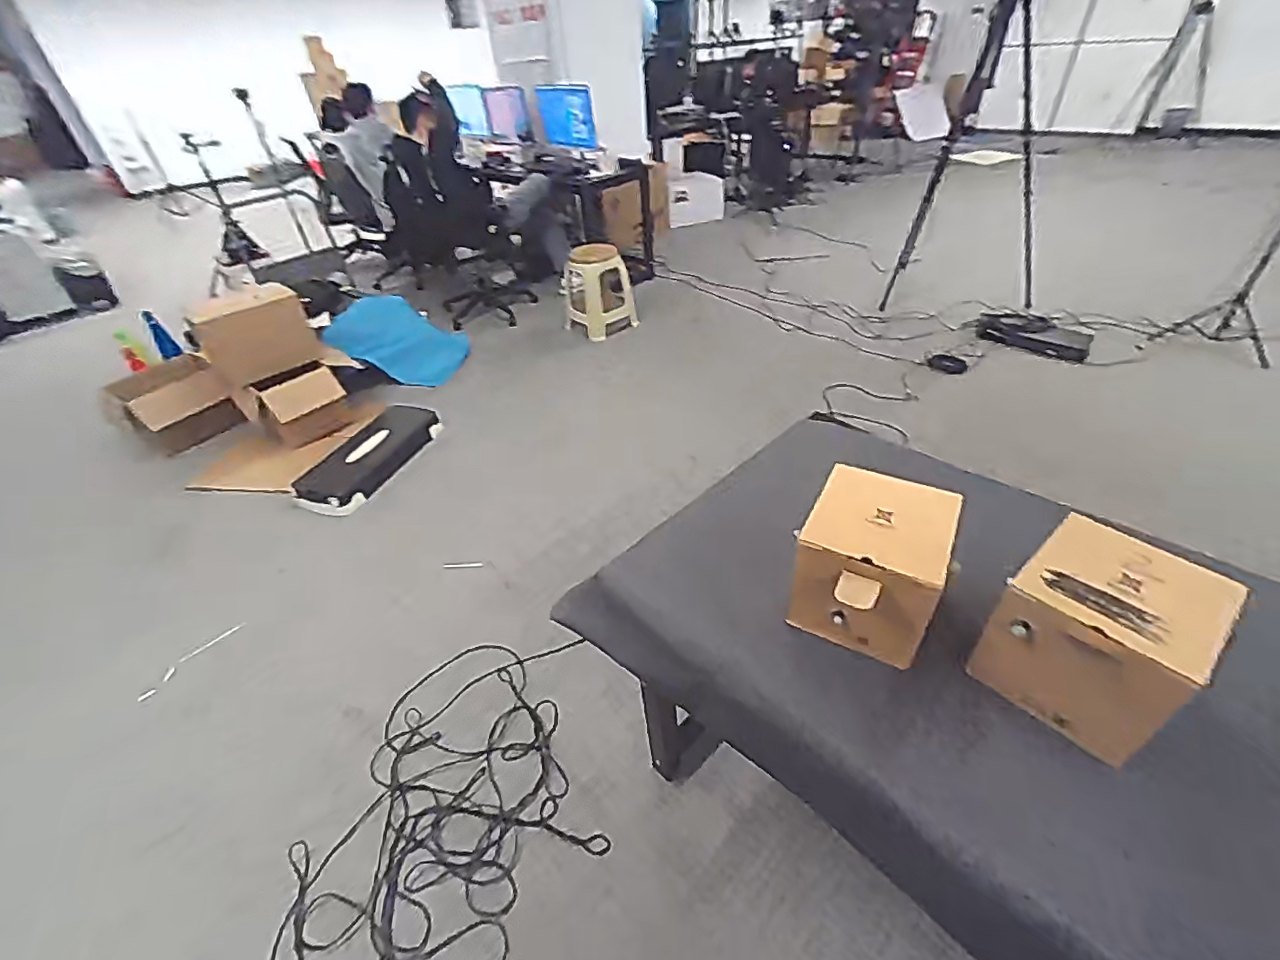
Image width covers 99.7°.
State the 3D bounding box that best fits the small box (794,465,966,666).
[{"bbox_3d":[0.318,0.112,0.734,0.168,0.176,0.179,18,44,26],"label":"small box"}]
